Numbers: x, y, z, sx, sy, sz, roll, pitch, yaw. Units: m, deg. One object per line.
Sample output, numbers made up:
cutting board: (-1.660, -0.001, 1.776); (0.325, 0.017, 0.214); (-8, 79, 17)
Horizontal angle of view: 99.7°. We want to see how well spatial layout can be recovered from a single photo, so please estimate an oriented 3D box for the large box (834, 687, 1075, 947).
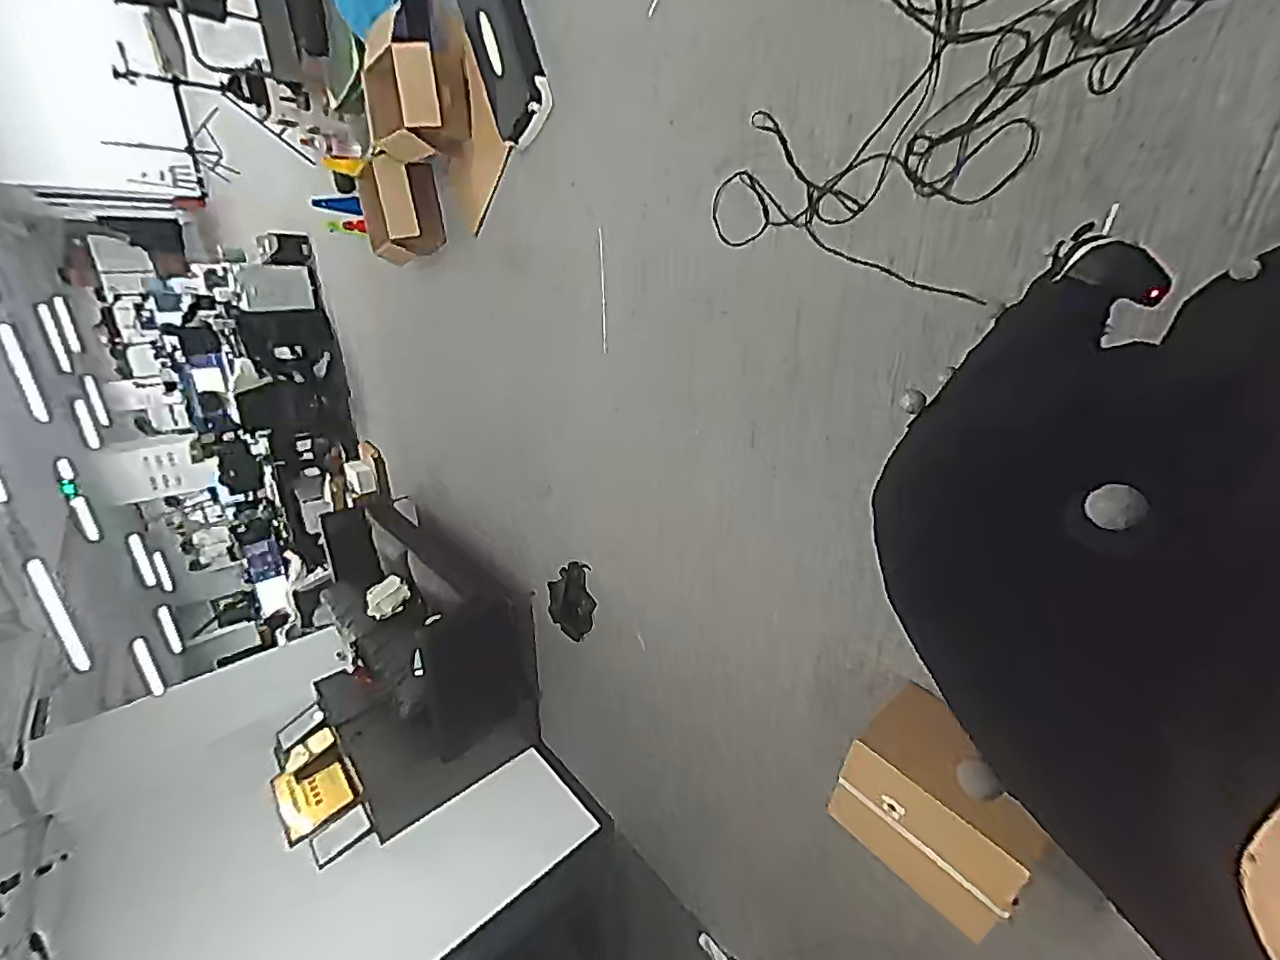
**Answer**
large box: (0.785, 0.826, 1.385); (0.408, 0.320, 0.320); (31, 126, 41)
